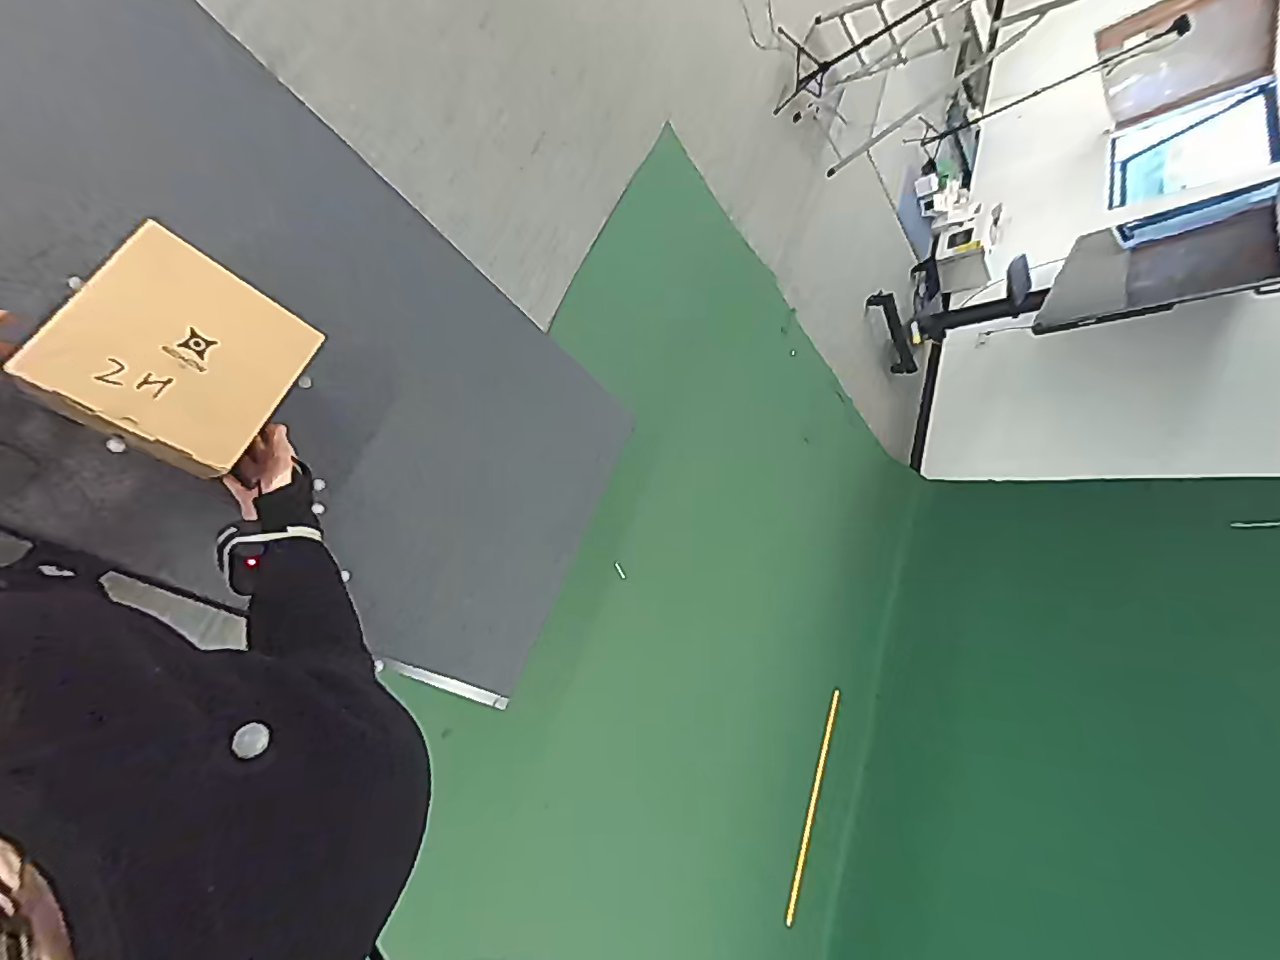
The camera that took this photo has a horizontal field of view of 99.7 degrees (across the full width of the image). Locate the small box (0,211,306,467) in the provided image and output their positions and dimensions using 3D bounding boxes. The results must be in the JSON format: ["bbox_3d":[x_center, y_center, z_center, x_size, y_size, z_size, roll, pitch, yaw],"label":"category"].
[{"bbox_3d":[-0.494,-0.128,0.557,0.168,0.176,0.179,40,62,-38],"label":"small box"}]
